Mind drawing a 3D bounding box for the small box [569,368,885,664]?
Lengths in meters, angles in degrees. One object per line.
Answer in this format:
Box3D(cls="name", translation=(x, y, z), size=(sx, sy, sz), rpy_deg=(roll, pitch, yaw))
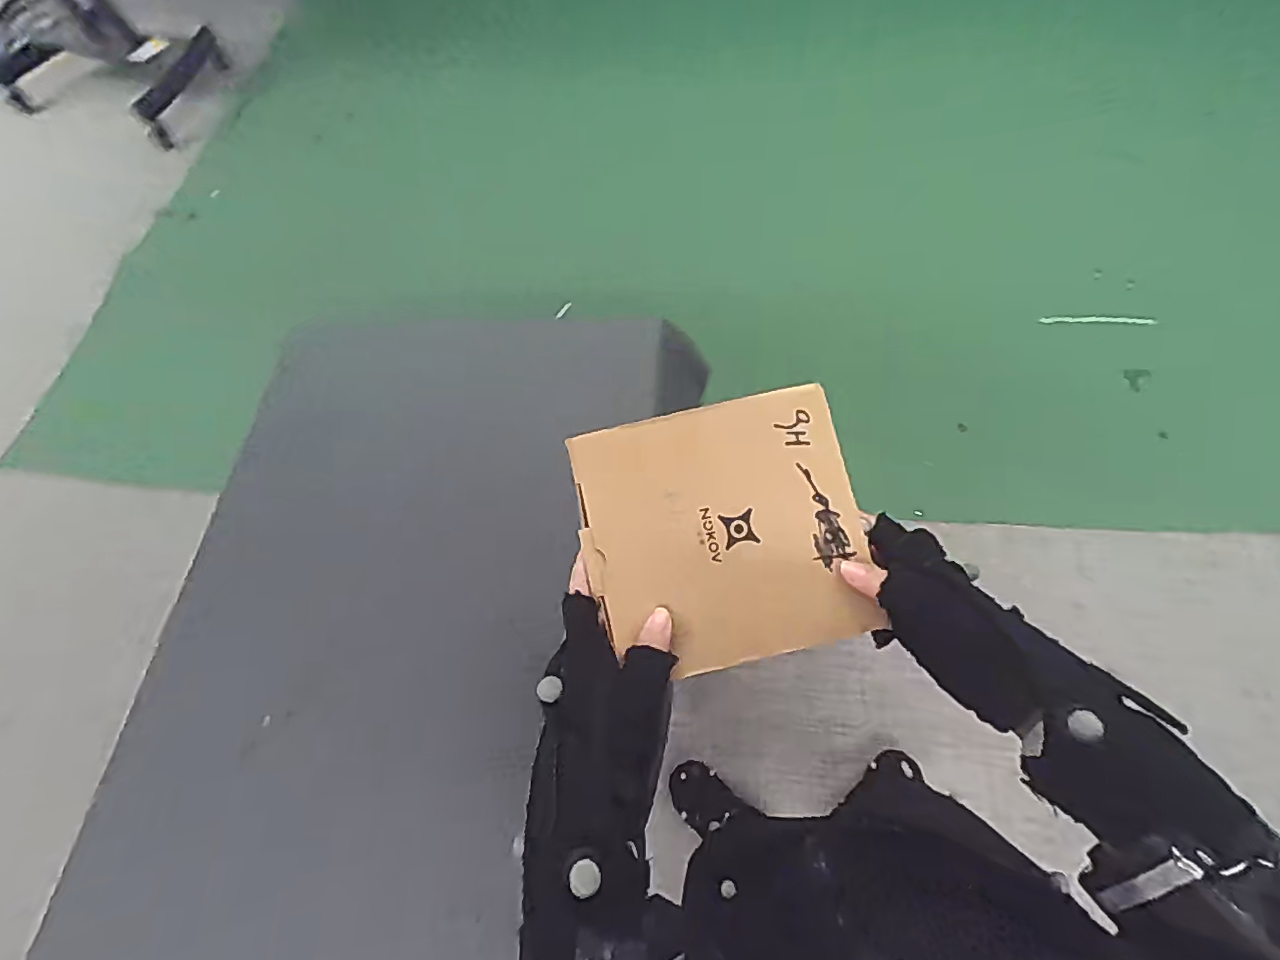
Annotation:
Box3D(cls="small box", translation=(0.055, 0.035, 0.435), size=(0.179, 0.176, 0.168), rpy_deg=(-15, 80, -3))
